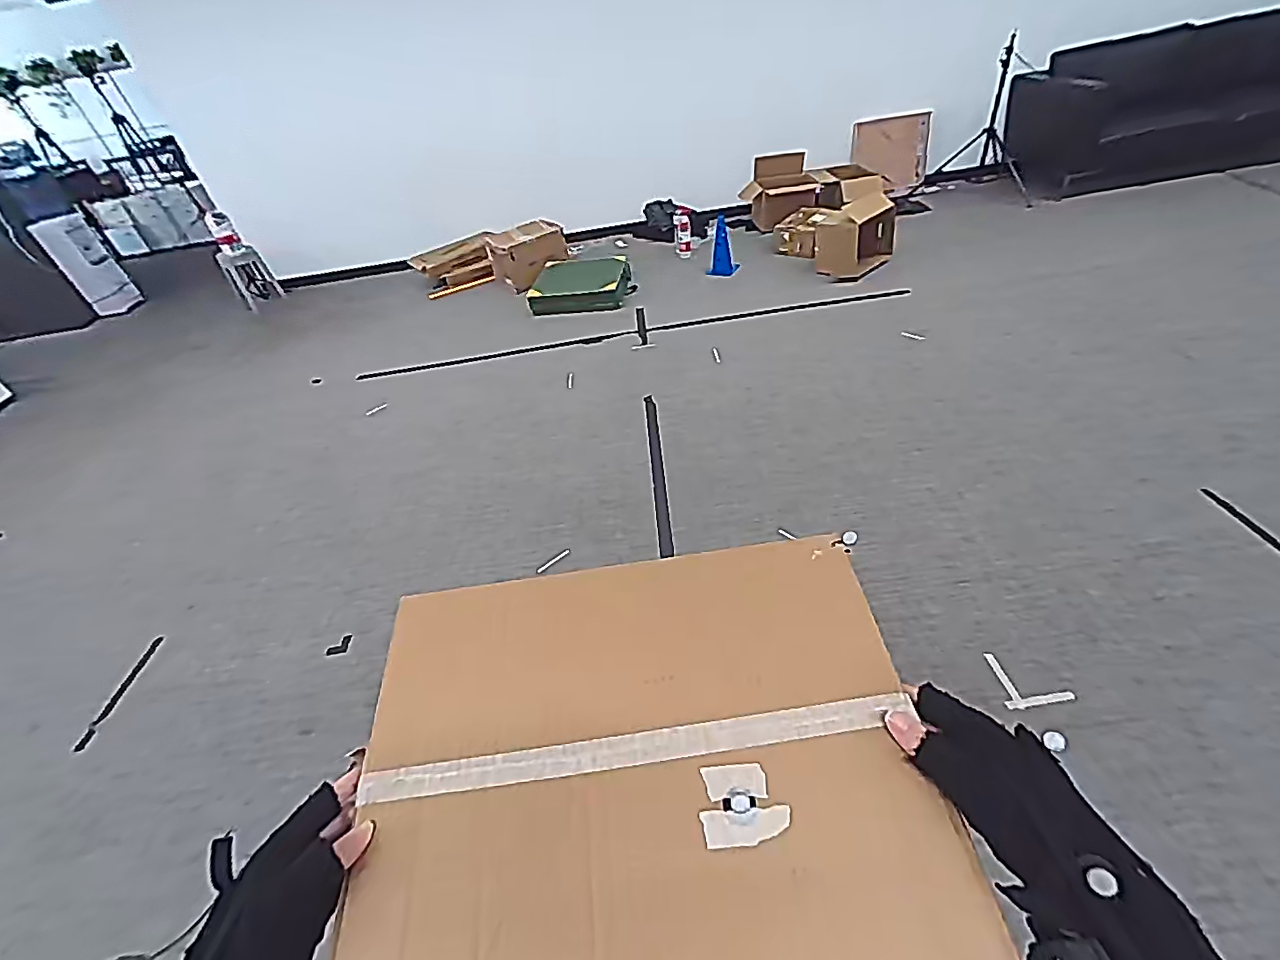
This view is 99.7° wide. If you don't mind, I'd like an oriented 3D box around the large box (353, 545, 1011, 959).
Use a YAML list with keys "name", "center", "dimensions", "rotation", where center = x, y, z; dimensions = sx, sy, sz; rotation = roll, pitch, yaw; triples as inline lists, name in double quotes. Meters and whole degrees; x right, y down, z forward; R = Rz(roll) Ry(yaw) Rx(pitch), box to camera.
- name: "large box"
  center: [0.016, 0.301, 0.516]
  dimensions: [0.408, 0.320, 0.320]
  rotation: [-8, 50, 0]
